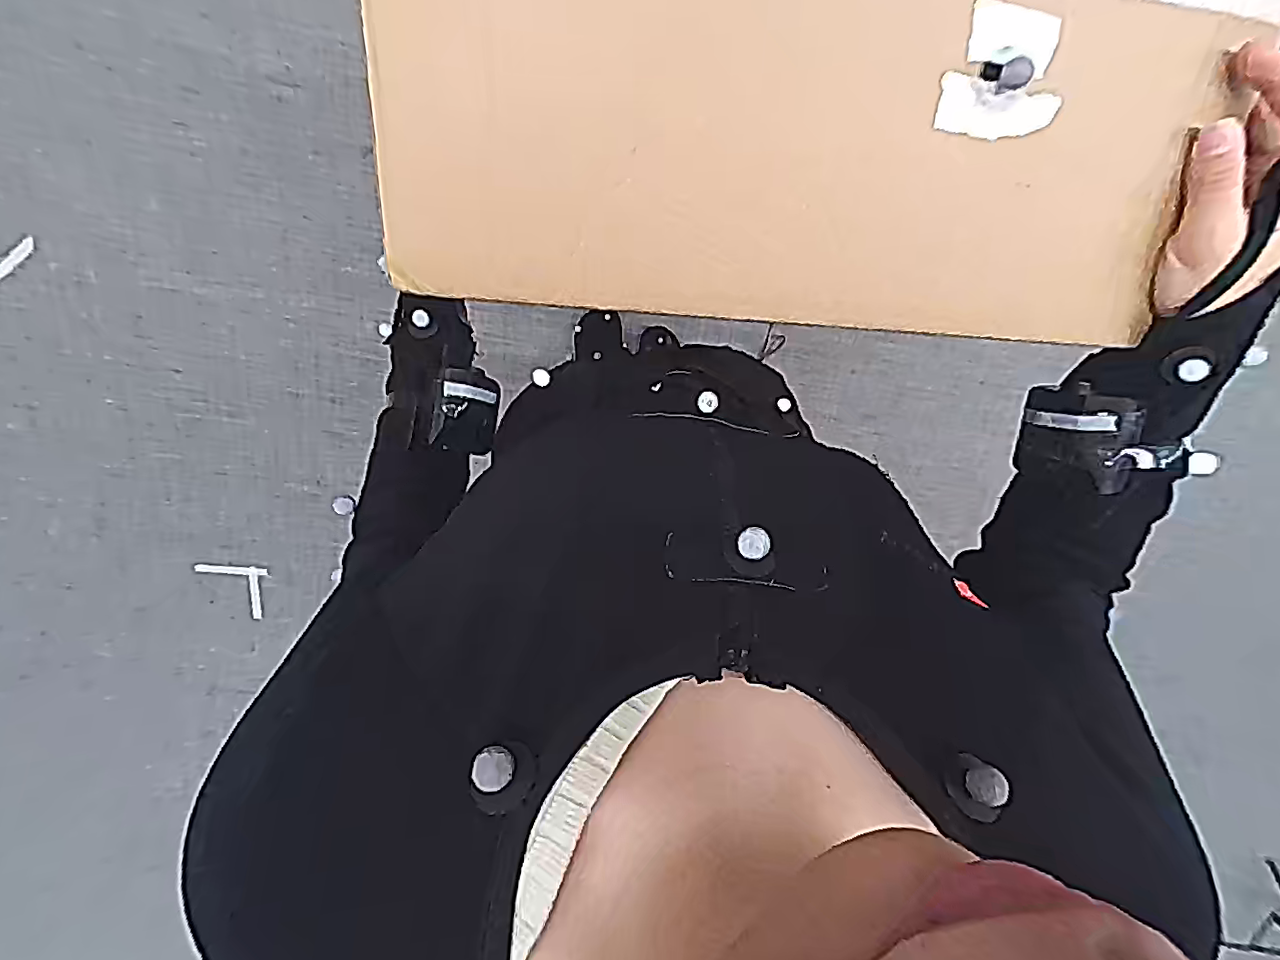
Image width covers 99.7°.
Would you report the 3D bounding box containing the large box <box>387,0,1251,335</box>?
[{"bbox_3d":[0.072,-0.284,0.366,0.408,0.320,0.320,1,114,-10],"label":"large box"}]
